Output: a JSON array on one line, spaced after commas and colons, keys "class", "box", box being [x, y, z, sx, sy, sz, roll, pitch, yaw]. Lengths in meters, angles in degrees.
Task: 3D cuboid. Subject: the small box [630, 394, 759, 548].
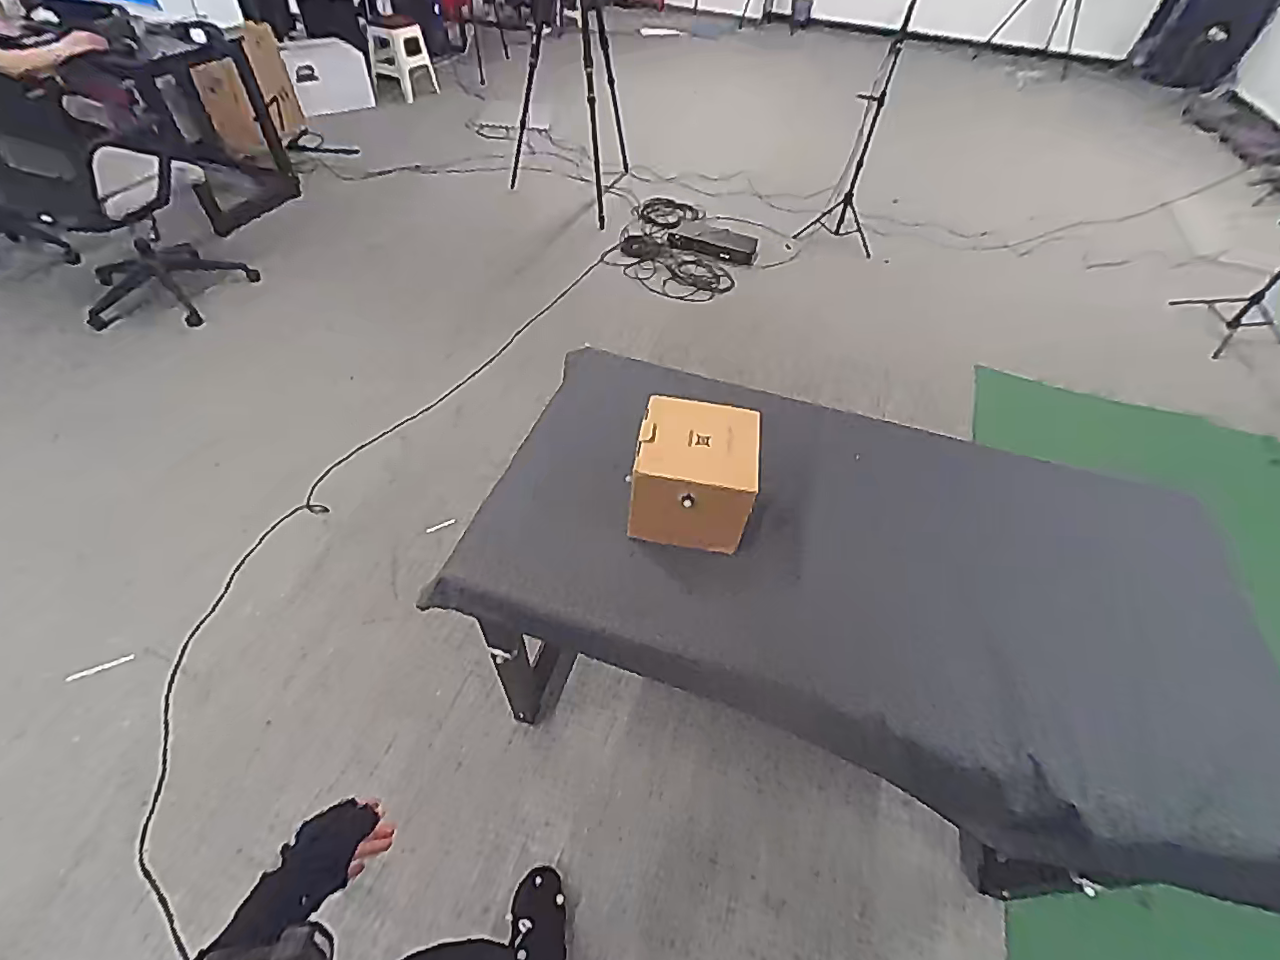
[{"class": "small box", "box": [0.083, -0.010, 0.860, 0.179, 0.176, 0.168, 10, 51, 2]}]
